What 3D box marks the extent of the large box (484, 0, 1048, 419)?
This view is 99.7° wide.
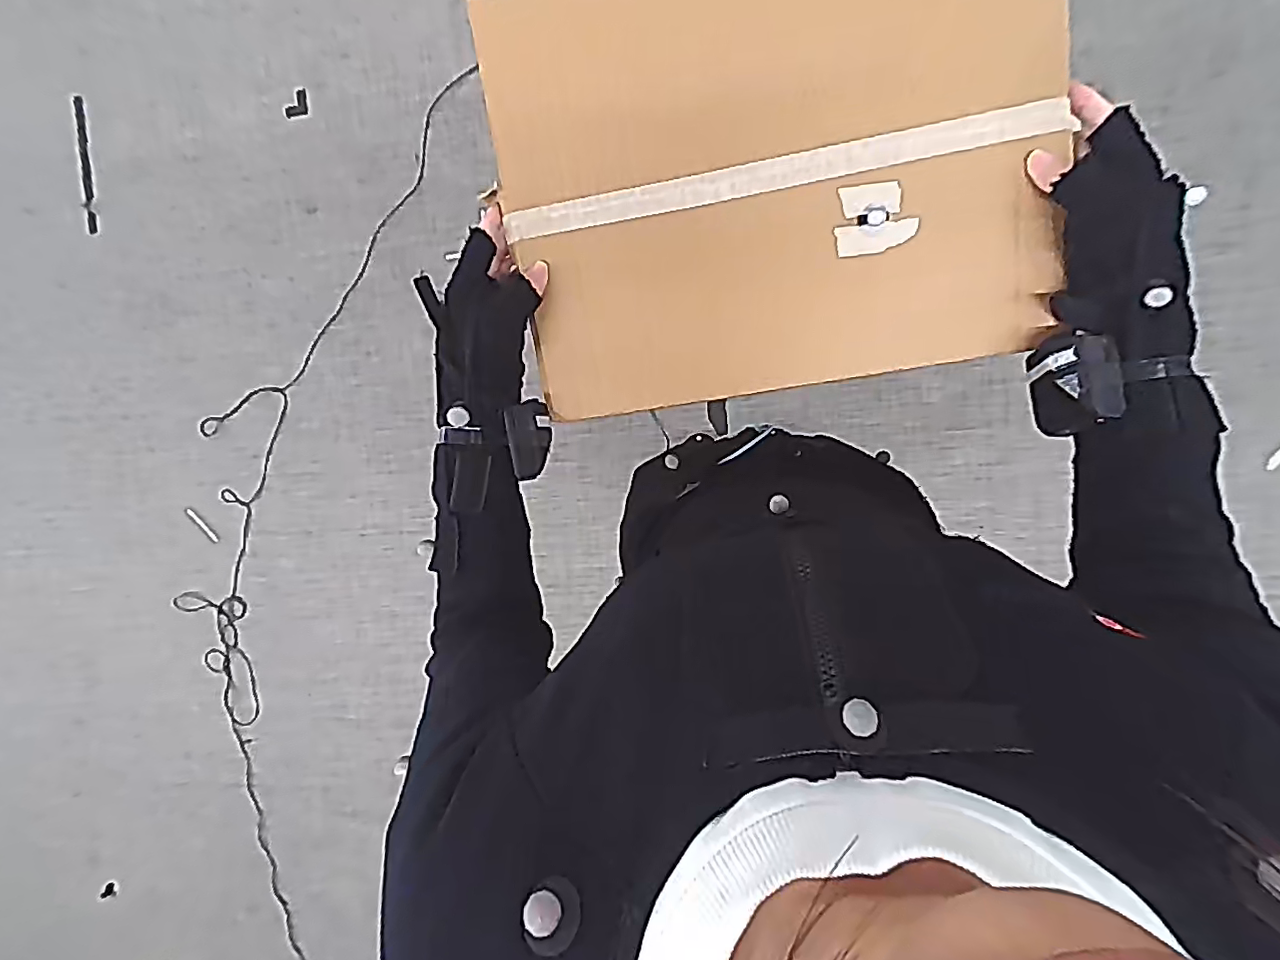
[{"bbox_3d":[0.109,-0.258,0.562,0.408,0.320,0.320,-8,101,6],"label":"large box"}]
